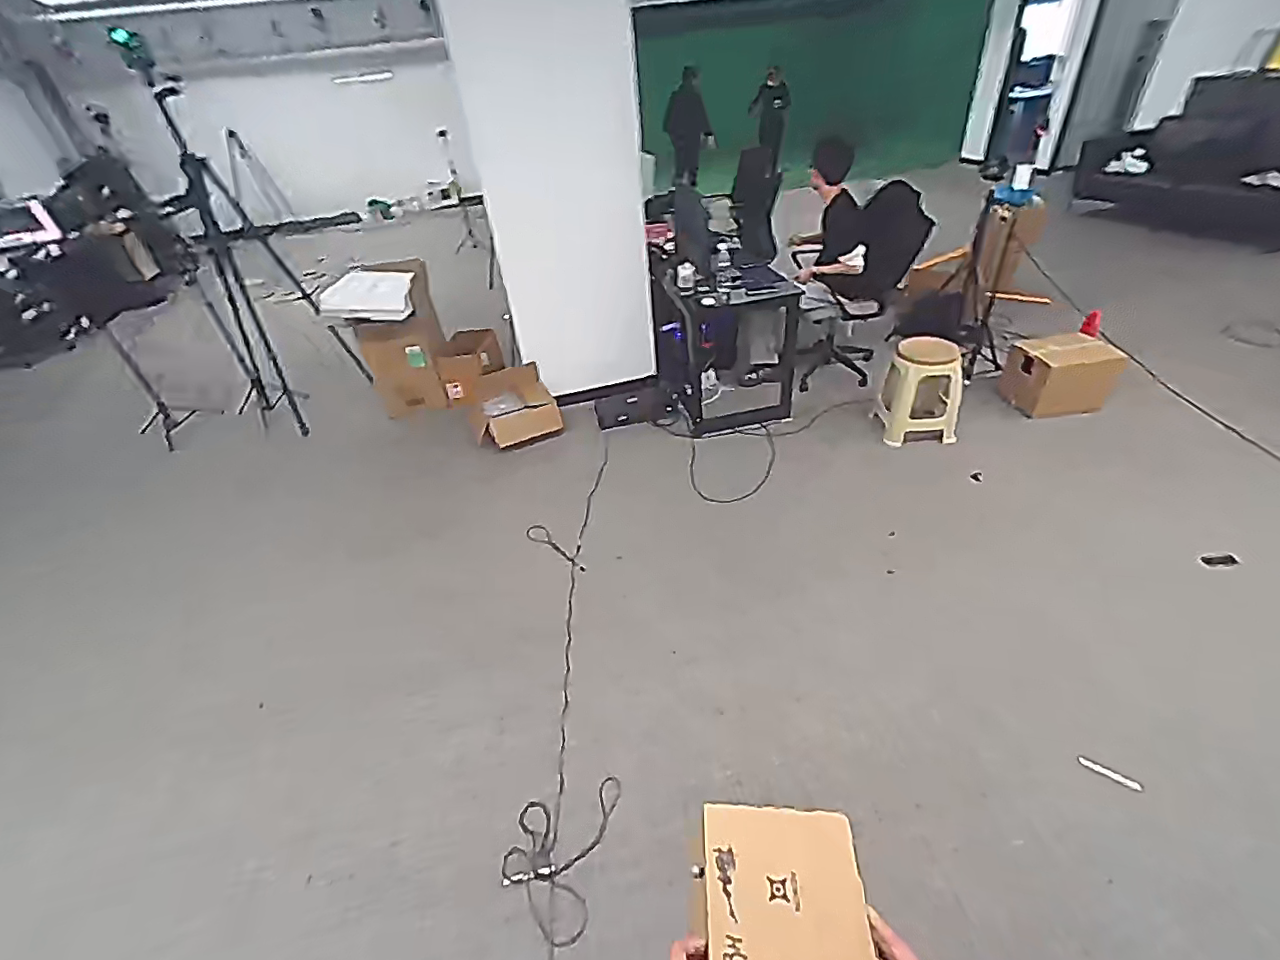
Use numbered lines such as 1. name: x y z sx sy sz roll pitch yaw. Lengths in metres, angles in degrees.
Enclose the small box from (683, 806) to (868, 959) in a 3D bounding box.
1. small box: 0.148 0.518 0.648 0.179 0.176 0.168 4 39 0
